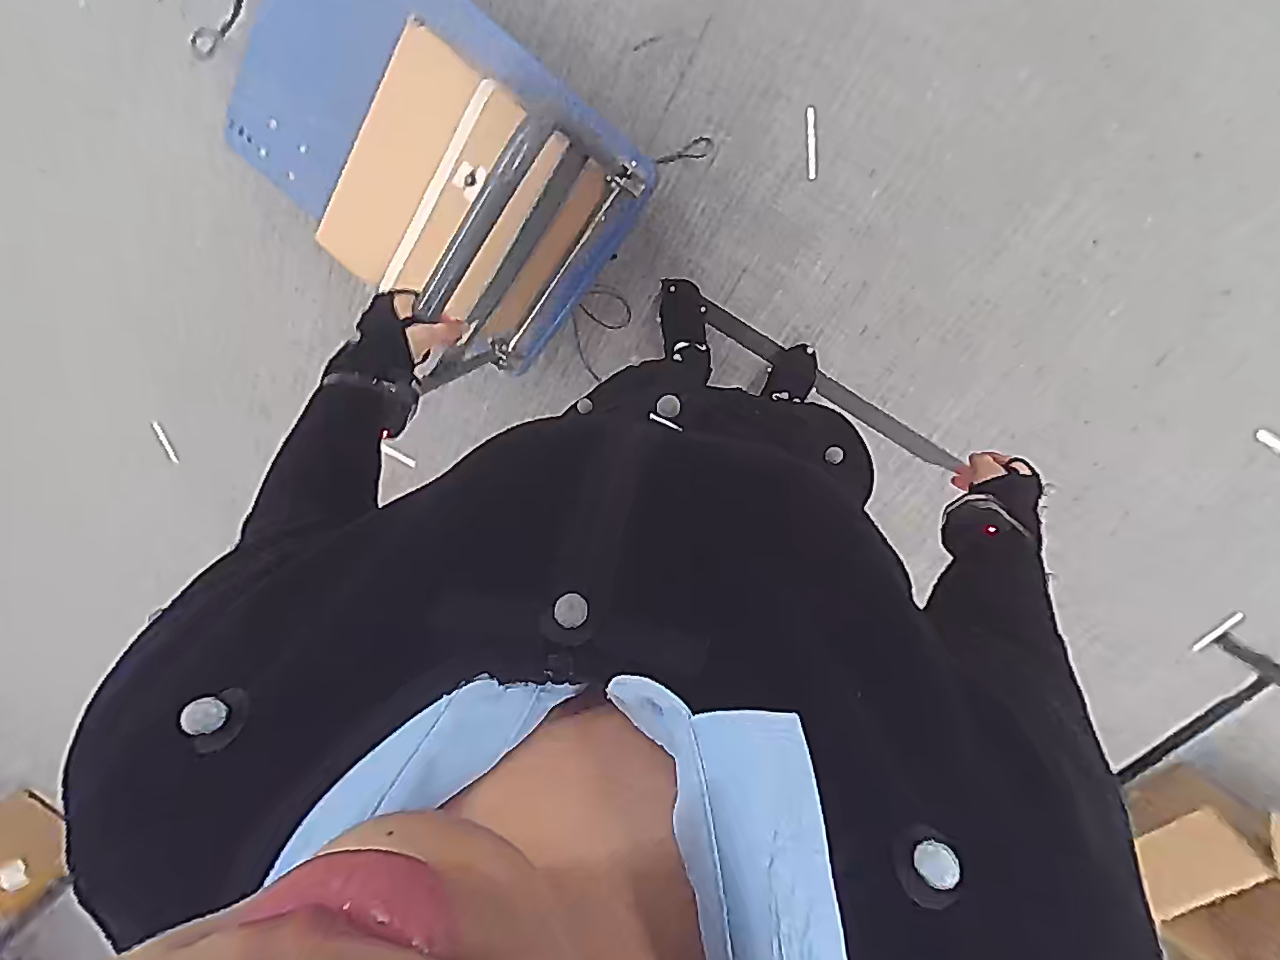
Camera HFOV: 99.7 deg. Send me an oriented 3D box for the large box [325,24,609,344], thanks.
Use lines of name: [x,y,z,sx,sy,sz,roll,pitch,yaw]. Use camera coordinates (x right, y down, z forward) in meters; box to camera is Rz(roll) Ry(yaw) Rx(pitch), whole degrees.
large box: [-0.323,-0.535,1.071,0.320,0.320,0.408,38,112,-5]
